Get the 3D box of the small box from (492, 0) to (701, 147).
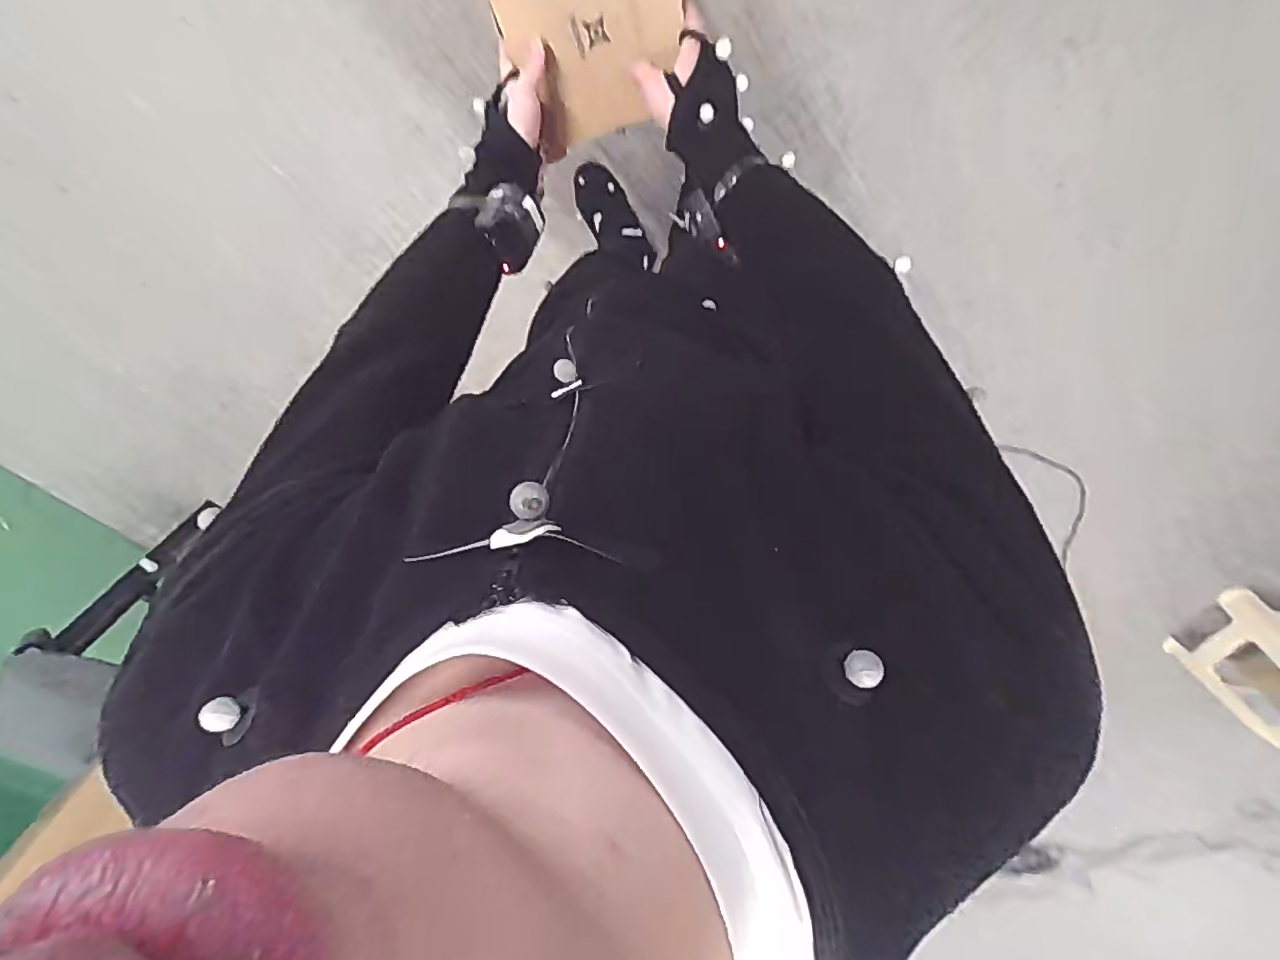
[{"bbox_3d":[-0.038,-0.488,0.572,0.179,0.176,0.168,-11,134,14],"label":"small box"}]
